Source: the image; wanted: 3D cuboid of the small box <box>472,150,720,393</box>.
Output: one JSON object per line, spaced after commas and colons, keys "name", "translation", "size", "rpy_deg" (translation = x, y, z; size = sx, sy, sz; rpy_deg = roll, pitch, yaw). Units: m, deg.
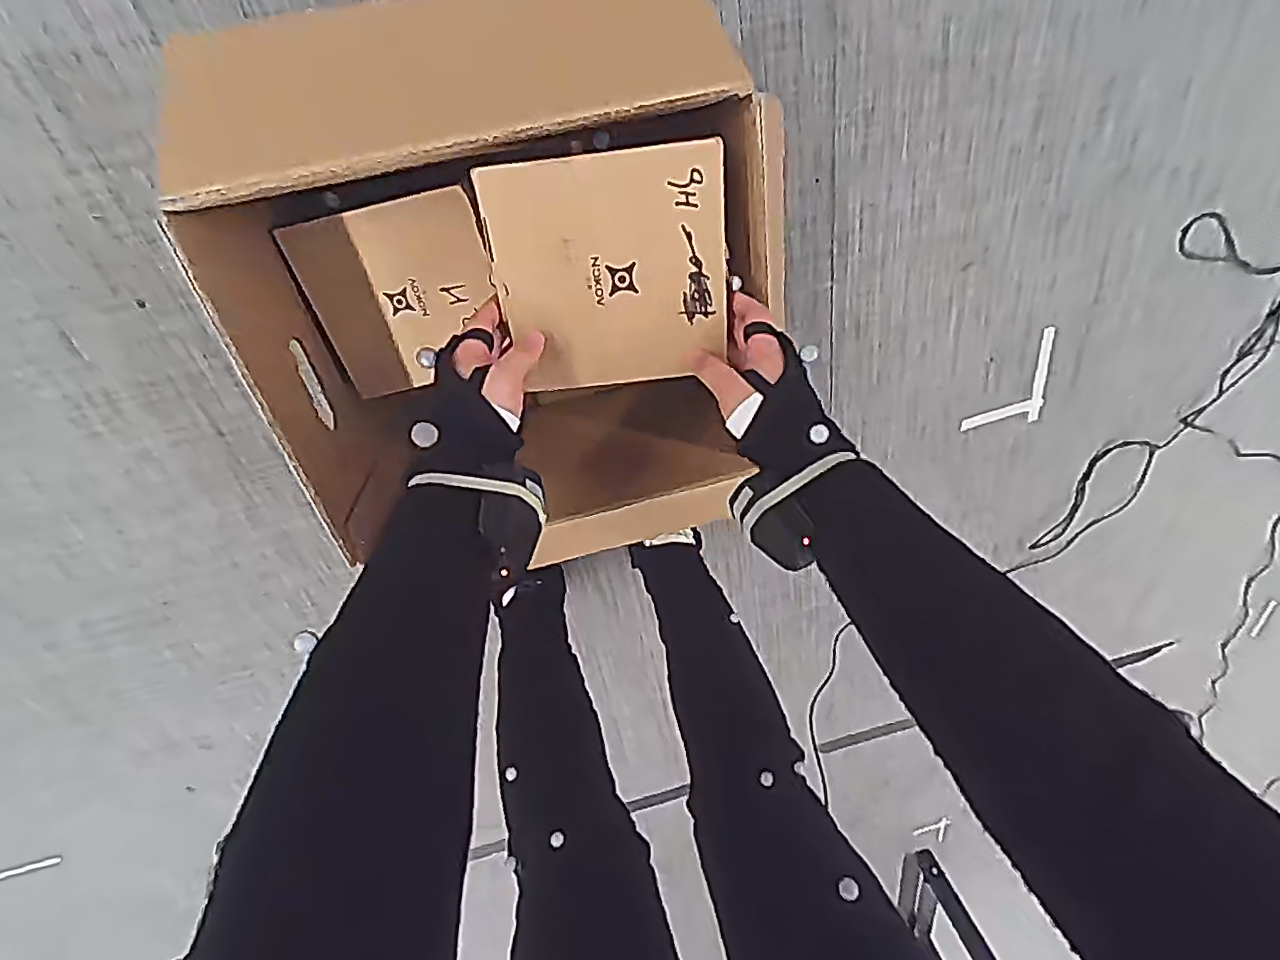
{"name": "small box", "translation": [-0.025, -0.191, 0.484], "size": [0.179, 0.176, 0.168], "rpy_deg": [-5, 122, 3]}
